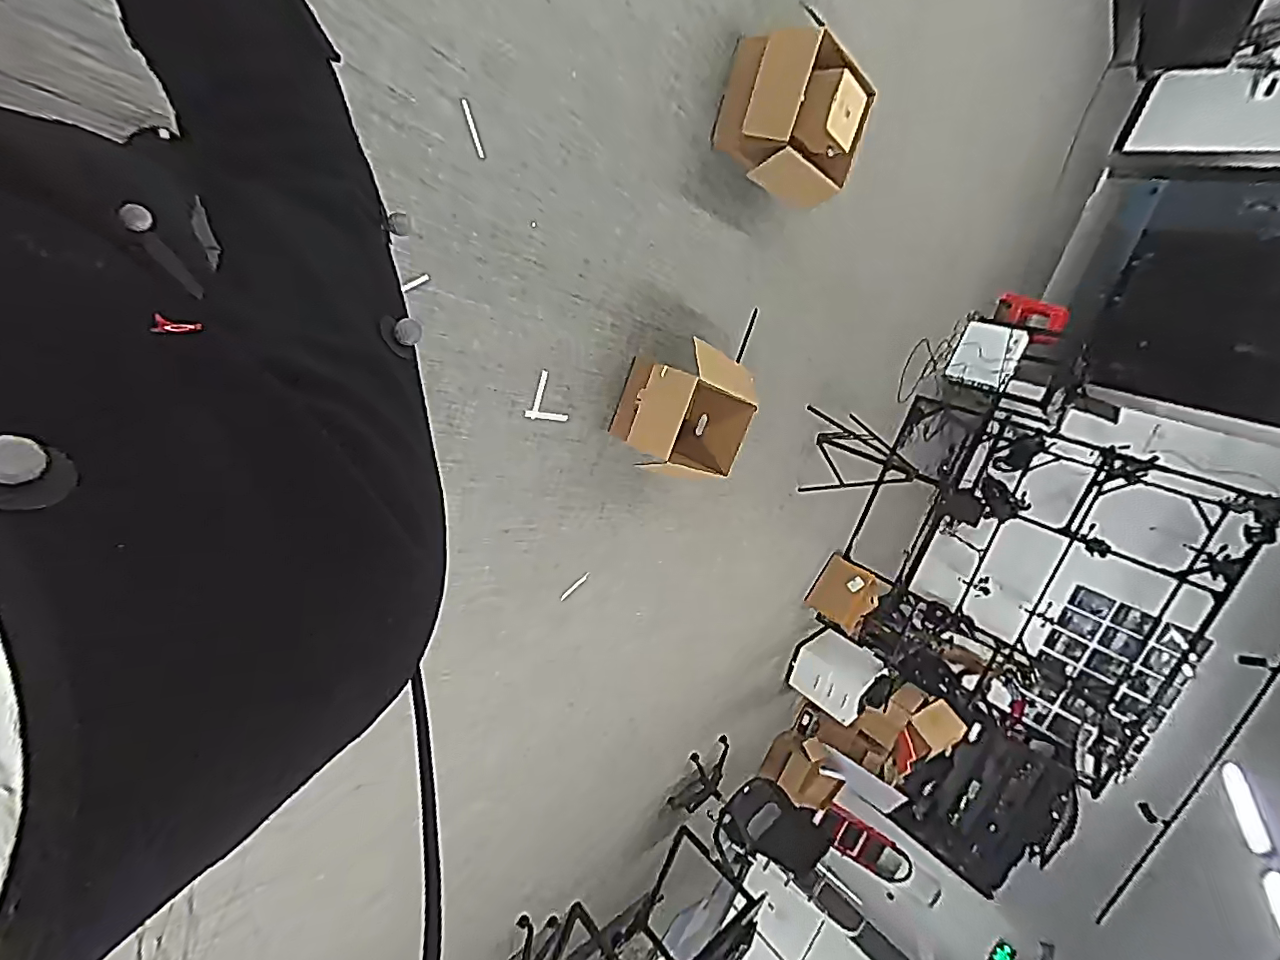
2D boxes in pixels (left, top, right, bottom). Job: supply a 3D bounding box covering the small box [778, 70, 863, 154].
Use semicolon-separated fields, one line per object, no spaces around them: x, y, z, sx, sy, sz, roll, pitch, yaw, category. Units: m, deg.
0.574;-1.172;1.728;0.179;0.176;0.168;0;112;-47;small box
